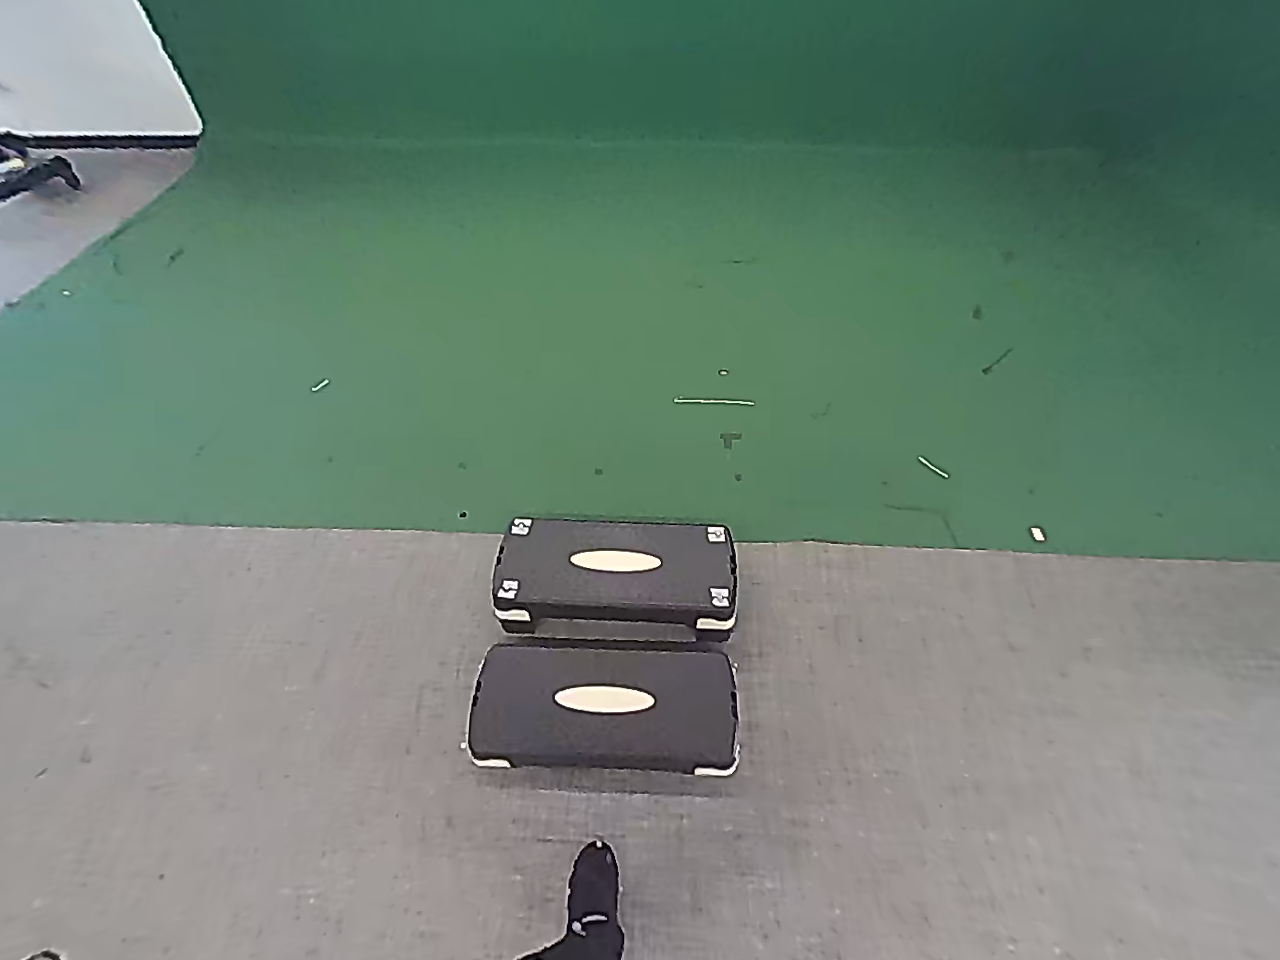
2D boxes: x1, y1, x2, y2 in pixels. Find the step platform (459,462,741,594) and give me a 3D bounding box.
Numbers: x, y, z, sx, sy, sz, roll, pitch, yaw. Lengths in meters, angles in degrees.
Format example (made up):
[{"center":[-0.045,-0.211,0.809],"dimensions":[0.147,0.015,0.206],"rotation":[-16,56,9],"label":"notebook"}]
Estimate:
[{"center":[-0.094,0.127,1.405],"dimensions":[0.684,0.204,0.286],"rotation":[1,52,2],"label":"step platform"}]
